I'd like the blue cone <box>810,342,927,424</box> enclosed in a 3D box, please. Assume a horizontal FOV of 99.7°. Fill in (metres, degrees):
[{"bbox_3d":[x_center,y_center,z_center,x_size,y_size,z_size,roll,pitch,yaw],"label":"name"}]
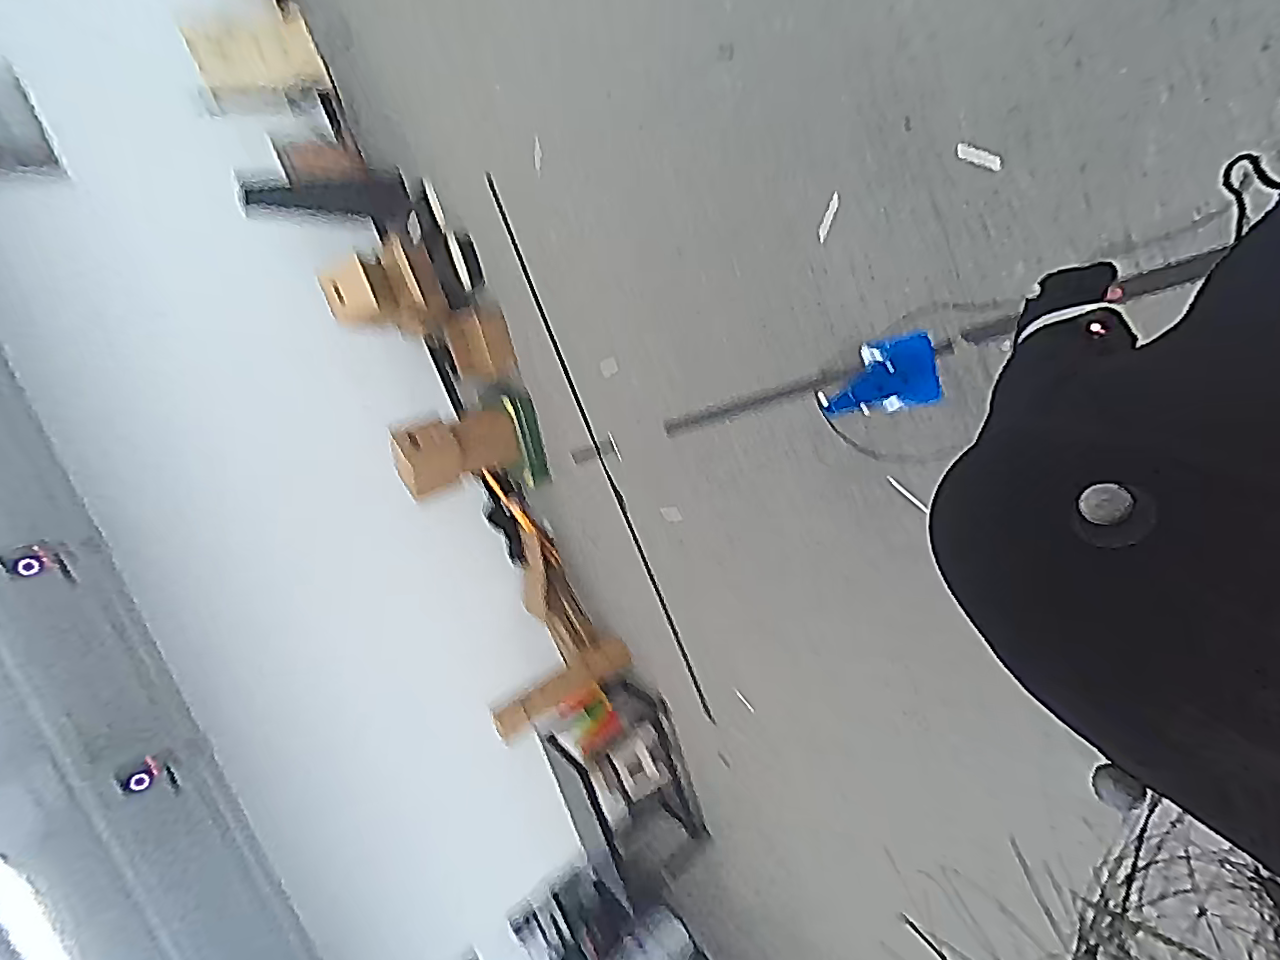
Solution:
[{"bbox_3d":[0.590,-0.227,1.455,0.192,0.380,0.193,-6,107,55],"label":"blue cone"}]
